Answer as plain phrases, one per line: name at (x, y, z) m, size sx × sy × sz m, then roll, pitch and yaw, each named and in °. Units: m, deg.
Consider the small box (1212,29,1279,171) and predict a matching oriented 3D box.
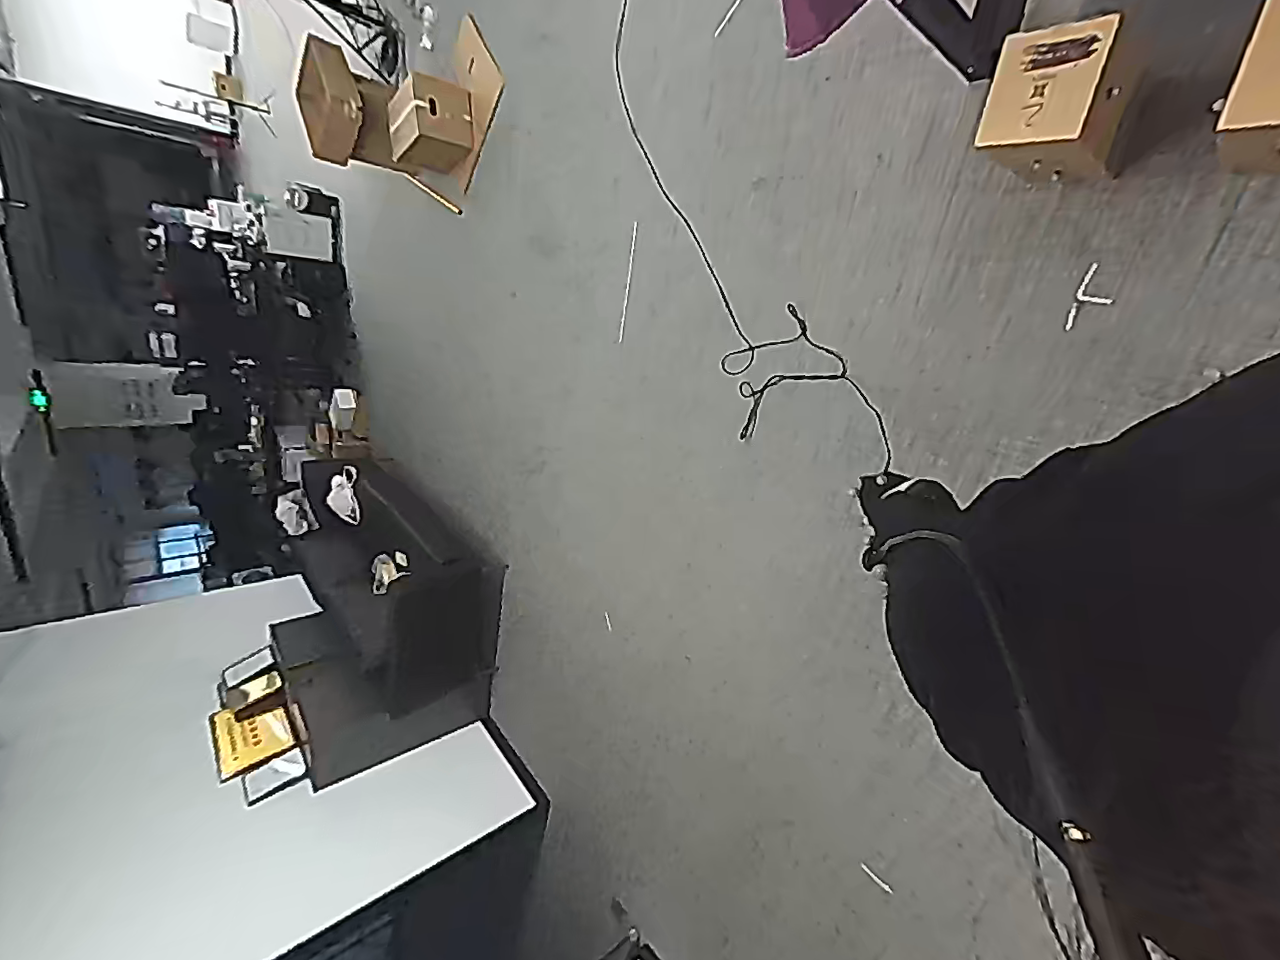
small box at (1.086, -0.611, 0.872) m, size 0.179 × 0.176 × 0.168 m, roll 28°, pitch 117°, yaw 43°
